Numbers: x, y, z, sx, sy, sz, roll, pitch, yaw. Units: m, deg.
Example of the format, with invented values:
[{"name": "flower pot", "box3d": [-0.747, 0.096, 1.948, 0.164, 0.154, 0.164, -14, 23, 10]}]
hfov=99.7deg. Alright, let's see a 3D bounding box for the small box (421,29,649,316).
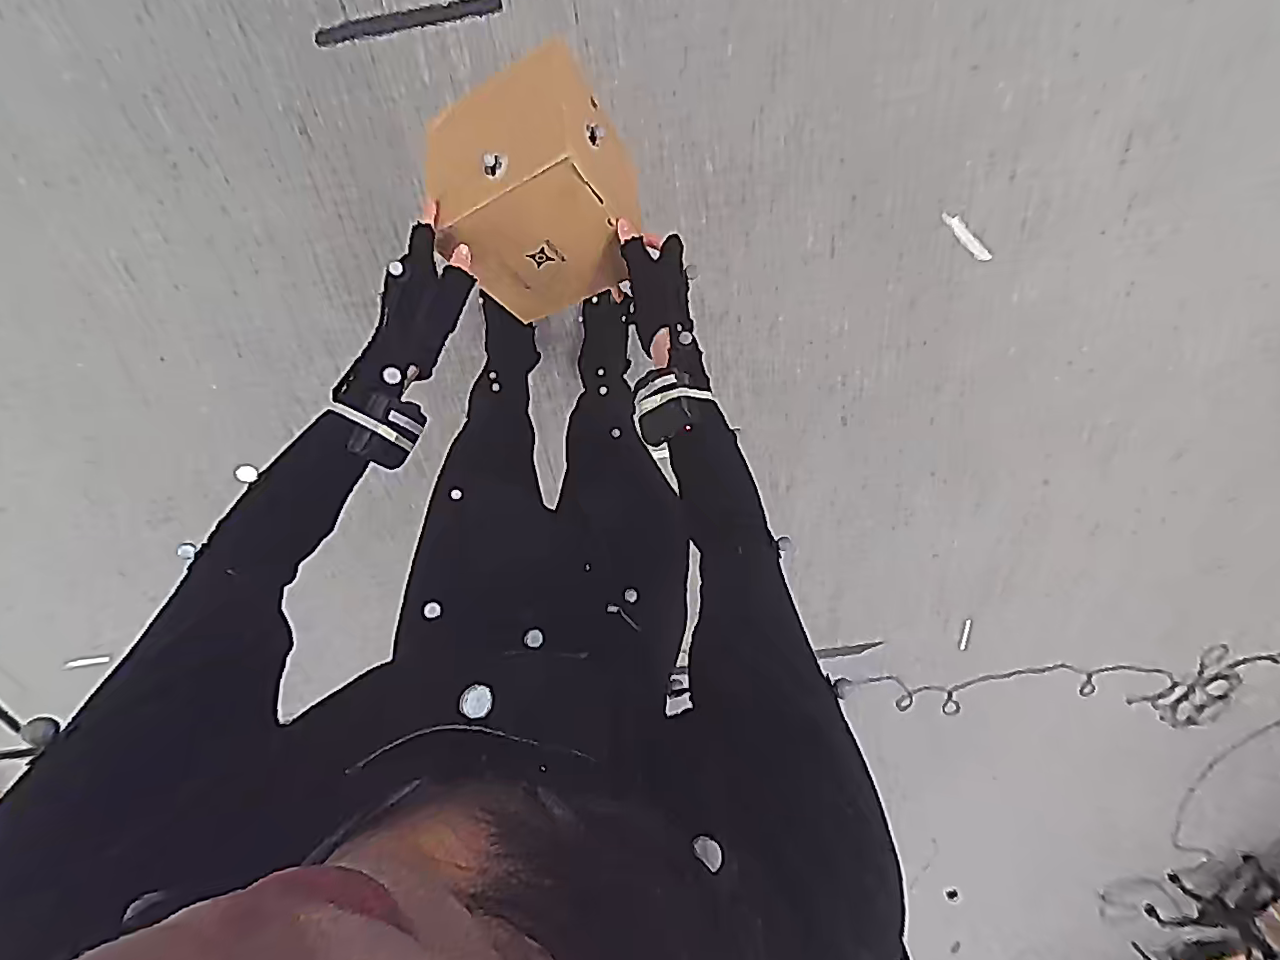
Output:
[{"name": "small box", "box3d": [-0.110, -0.315, 0.578, 0.179, 0.176, 0.168, -15, 158, 24]}]
